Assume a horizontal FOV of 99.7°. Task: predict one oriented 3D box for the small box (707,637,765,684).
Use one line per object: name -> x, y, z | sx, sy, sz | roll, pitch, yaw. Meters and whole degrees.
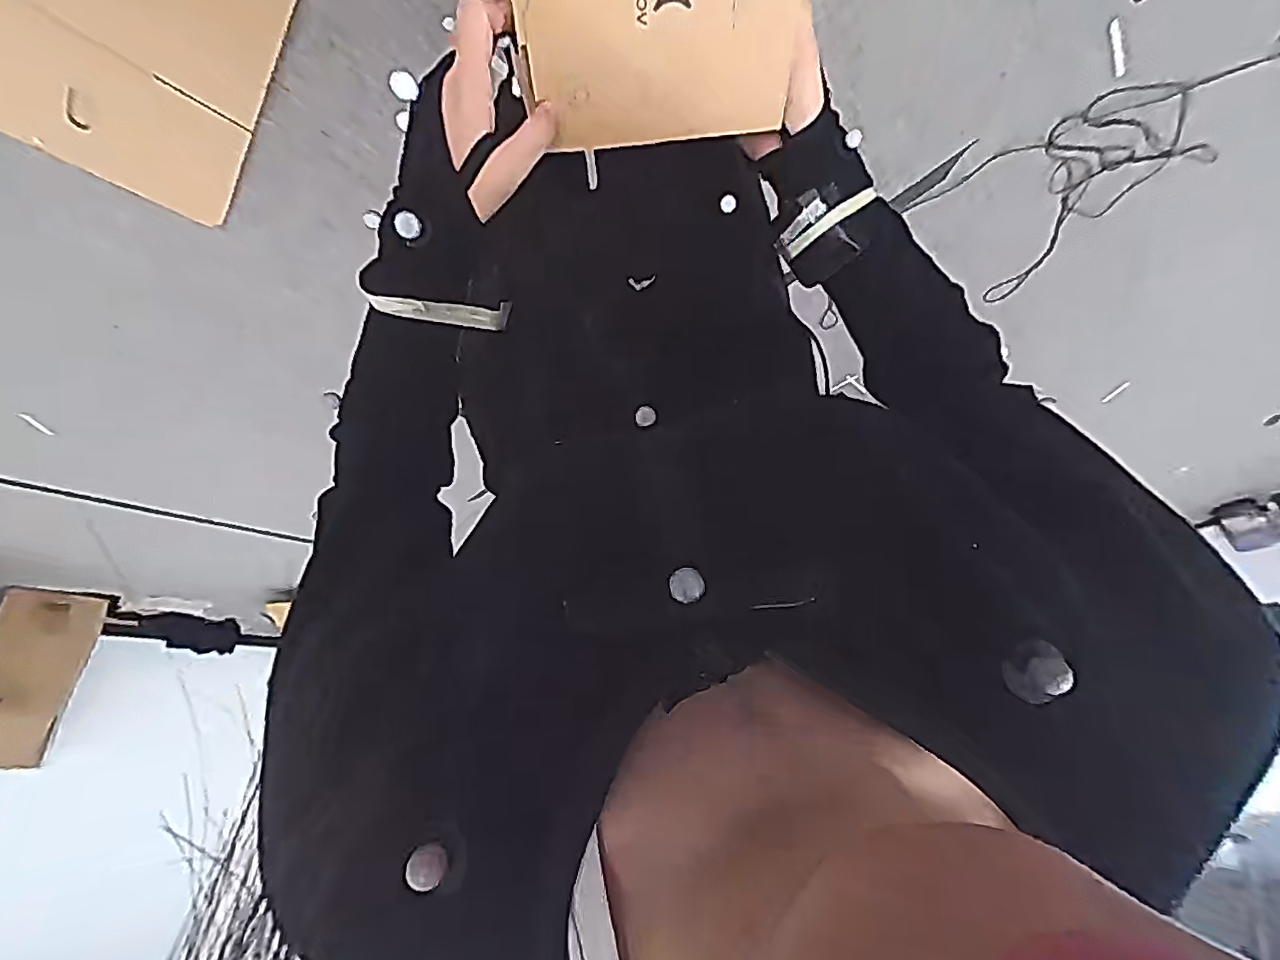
small box -> 0.403, 0.767, 2.286 | 0.168, 0.176, 0.179 | -28, 144, 33
